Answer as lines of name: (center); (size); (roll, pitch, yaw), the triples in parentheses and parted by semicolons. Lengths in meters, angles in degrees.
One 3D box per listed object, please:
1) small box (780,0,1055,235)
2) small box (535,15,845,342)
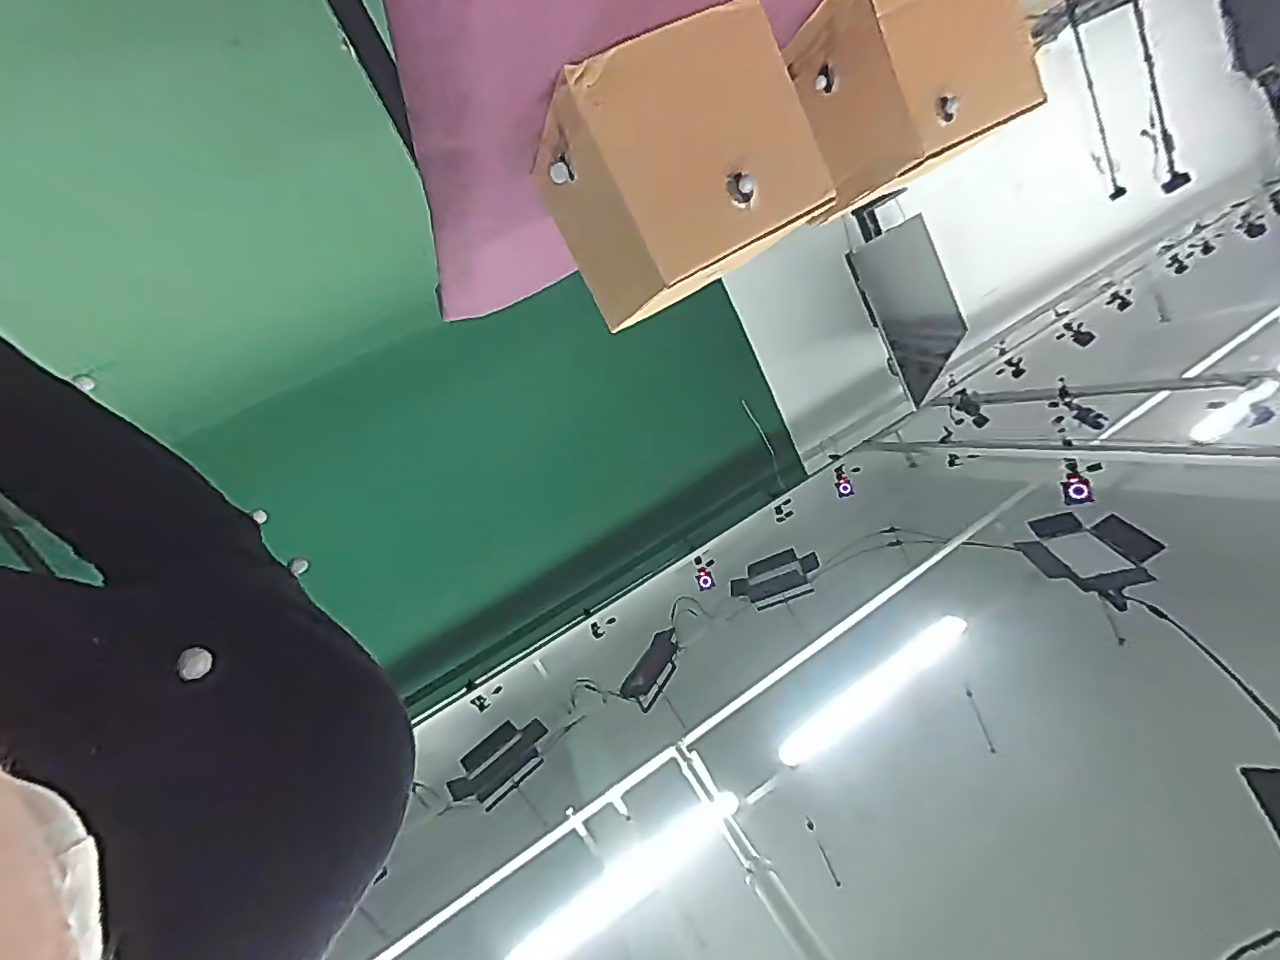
small box: (0.261, -0.385, 0.544); (0.179, 0.176, 0.168); (-29, -168, -14)
small box: (0.034, -0.248, 0.472); (0.179, 0.176, 0.168); (-31, -169, -14)
